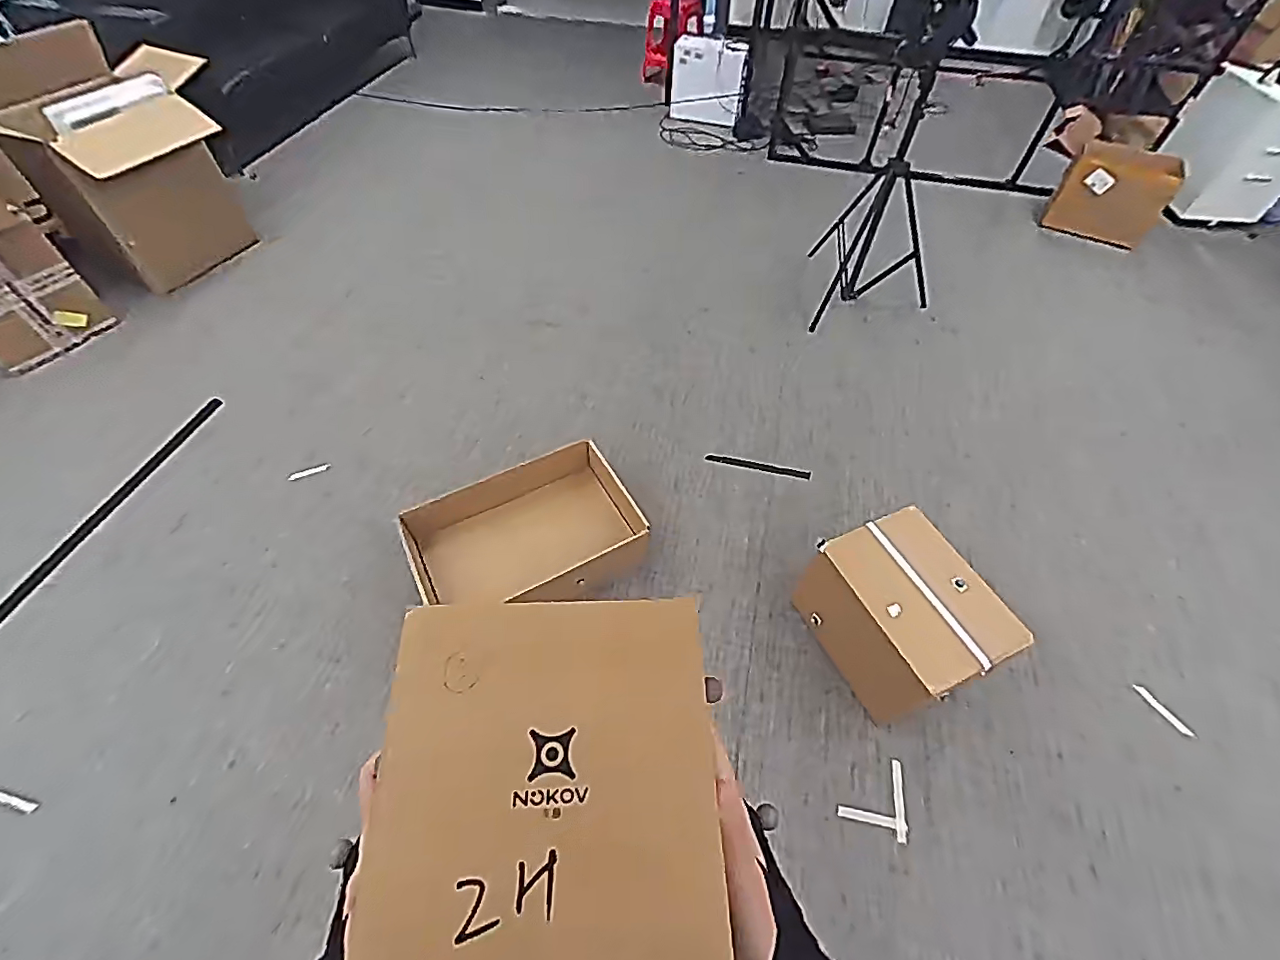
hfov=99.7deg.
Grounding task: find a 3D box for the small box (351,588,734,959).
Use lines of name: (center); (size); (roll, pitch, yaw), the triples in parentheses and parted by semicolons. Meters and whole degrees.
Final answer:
small box: (-0.050, 0.180, 0.339); (0.168, 0.176, 0.179); (-1, 60, -5)
